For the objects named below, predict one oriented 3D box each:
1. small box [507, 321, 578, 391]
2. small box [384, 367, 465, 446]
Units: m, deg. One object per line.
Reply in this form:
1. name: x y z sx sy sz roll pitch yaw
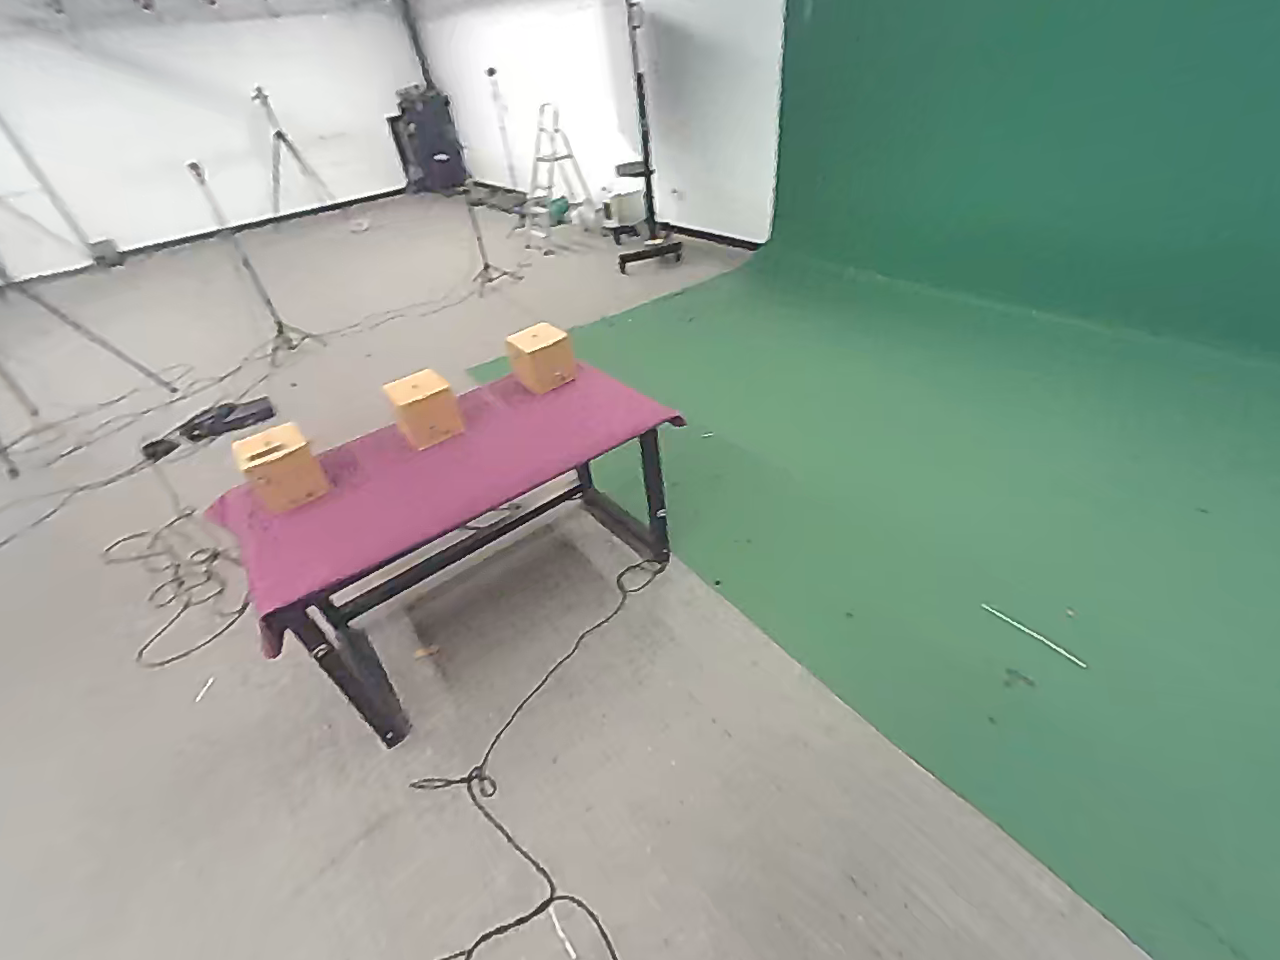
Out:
1. small box: -0.343 -0.438 1.919 0.168 0.176 0.179 -31 46 -24
2. small box: -0.685 -0.234 1.726 0.168 0.176 0.179 -30 45 -27
